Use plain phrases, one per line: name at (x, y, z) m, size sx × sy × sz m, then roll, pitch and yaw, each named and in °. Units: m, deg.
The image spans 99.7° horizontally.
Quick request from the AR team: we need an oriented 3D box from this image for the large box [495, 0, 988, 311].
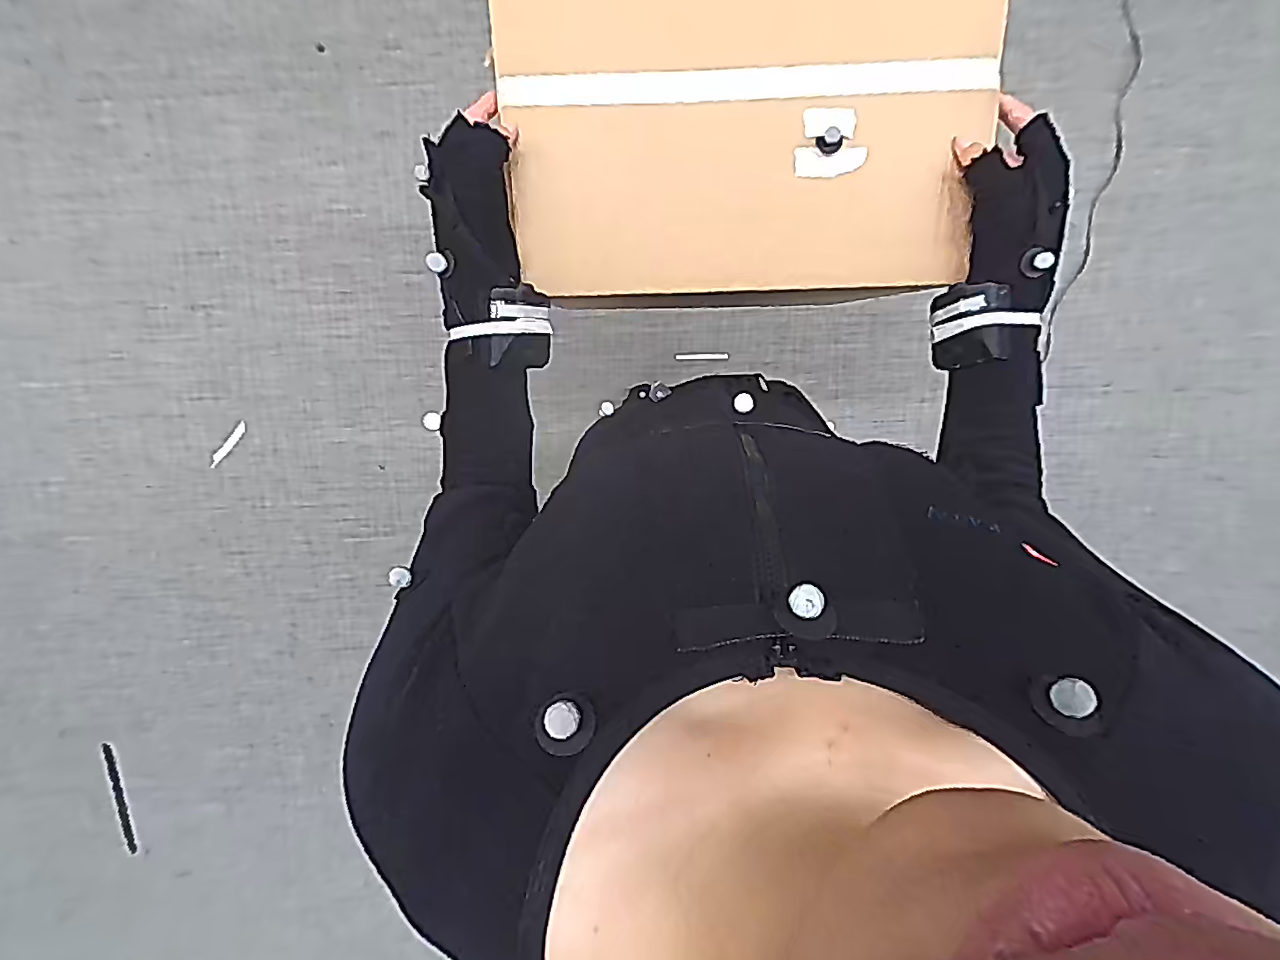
large box at (0.081, -0.363, 0.595) m, size 0.408 × 0.320 × 0.320 m, roll -2°, pitch 105°, yaw 0°
